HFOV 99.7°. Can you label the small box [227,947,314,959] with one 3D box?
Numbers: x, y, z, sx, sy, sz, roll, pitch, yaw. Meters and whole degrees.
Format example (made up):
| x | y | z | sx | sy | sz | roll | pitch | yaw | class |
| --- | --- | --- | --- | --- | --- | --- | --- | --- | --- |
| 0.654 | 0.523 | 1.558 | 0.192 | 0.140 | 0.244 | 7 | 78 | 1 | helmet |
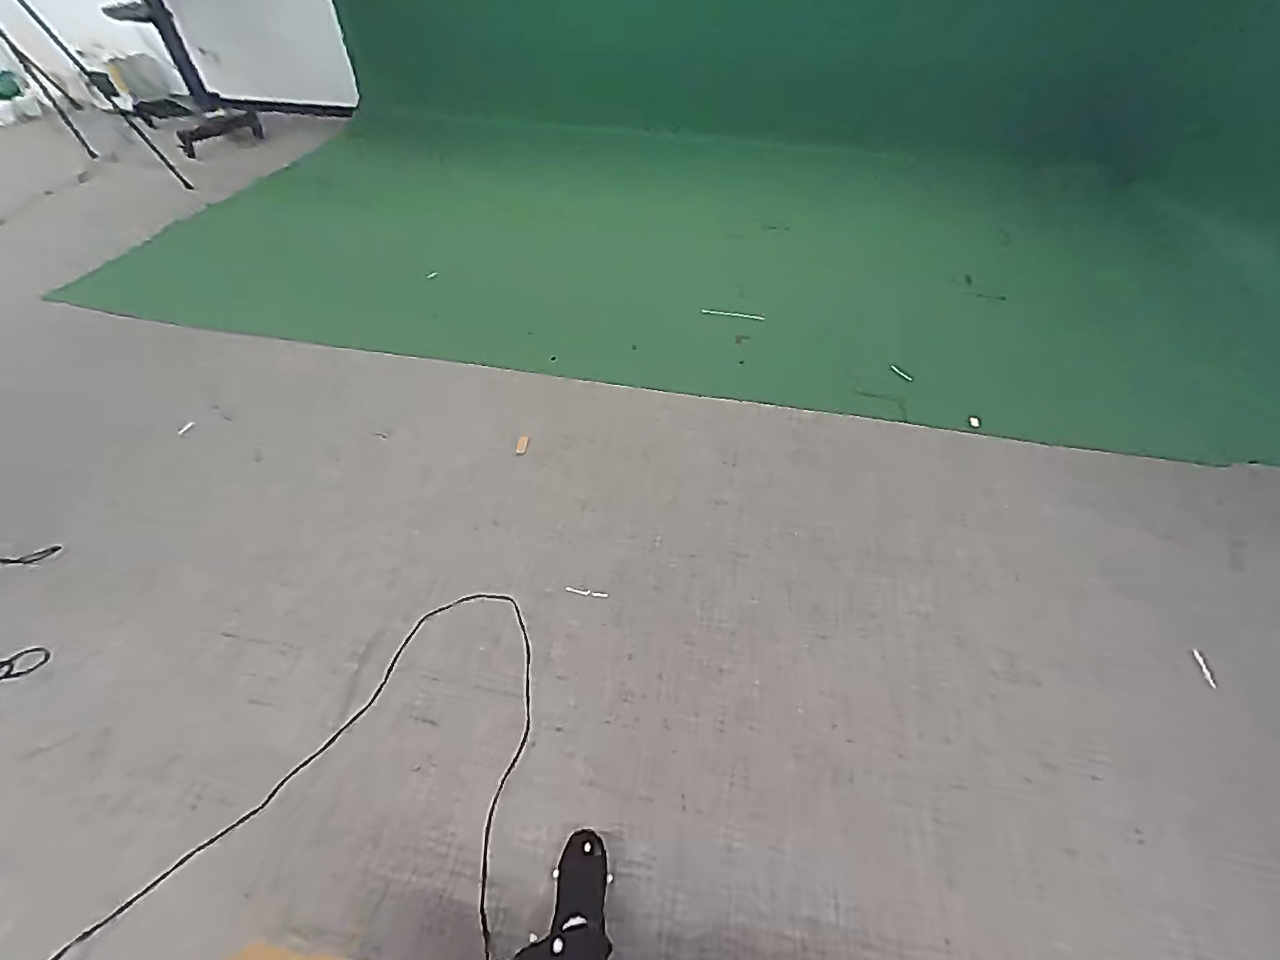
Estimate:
| x | y | z | sx | sy | sz | roll | pitch | yaw | class |
| --- | --- | --- | --- | --- | --- | --- | --- | --- | --- |
| -0.443 | 0.669 | 0.590 | 0.168 | 0.179 | 0.176 | 6 | 76 | 3 | small box |
